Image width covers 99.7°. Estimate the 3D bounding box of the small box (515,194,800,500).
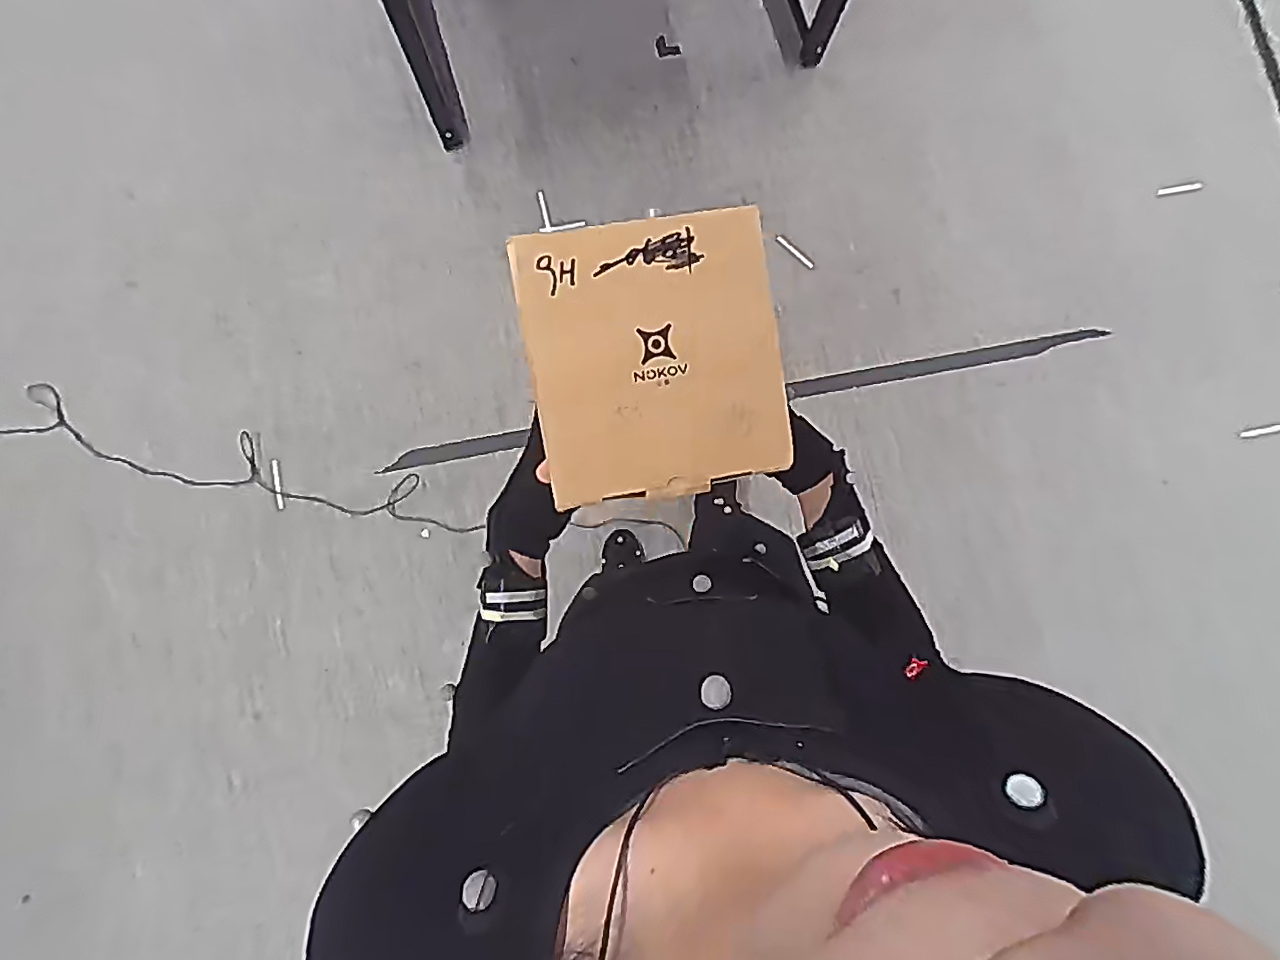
[{"bbox_3d":[0.007,-0.092,0.423,0.168,0.176,0.179,-10,96,-6],"label":"small box"}]
